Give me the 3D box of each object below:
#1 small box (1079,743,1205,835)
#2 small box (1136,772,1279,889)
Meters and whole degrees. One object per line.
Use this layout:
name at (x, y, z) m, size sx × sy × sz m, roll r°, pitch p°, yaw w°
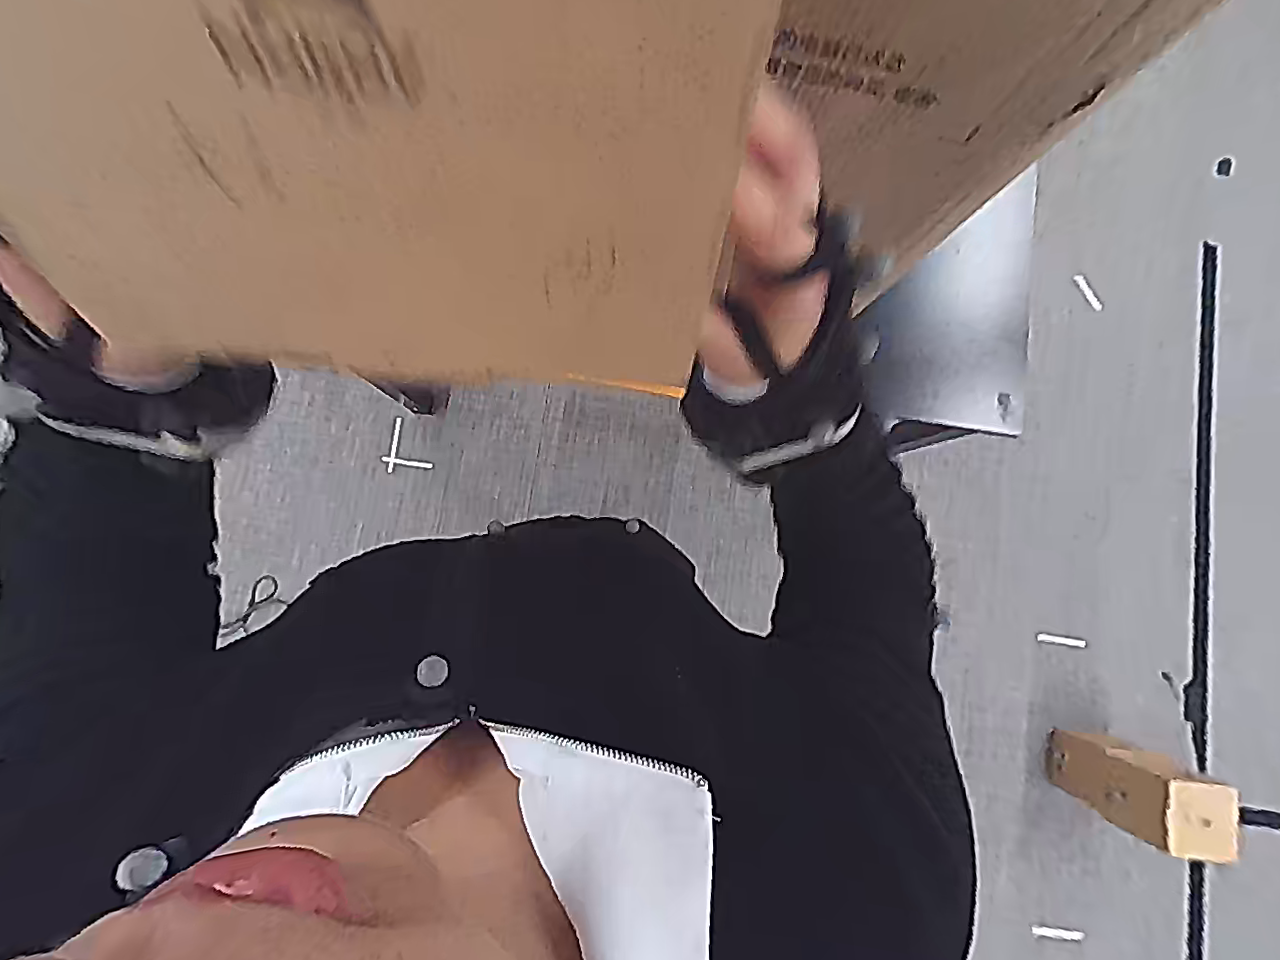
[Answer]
small box at (1.302, 0.806, 1.409) m, size 0.179 × 0.176 × 0.168 m, roll 7°, pitch 83°, yaw -3°
small box at (1.307, 0.797, 1.244) m, size 0.179 × 0.176 × 0.168 m, roll 8°, pitch 83°, yaw -4°
